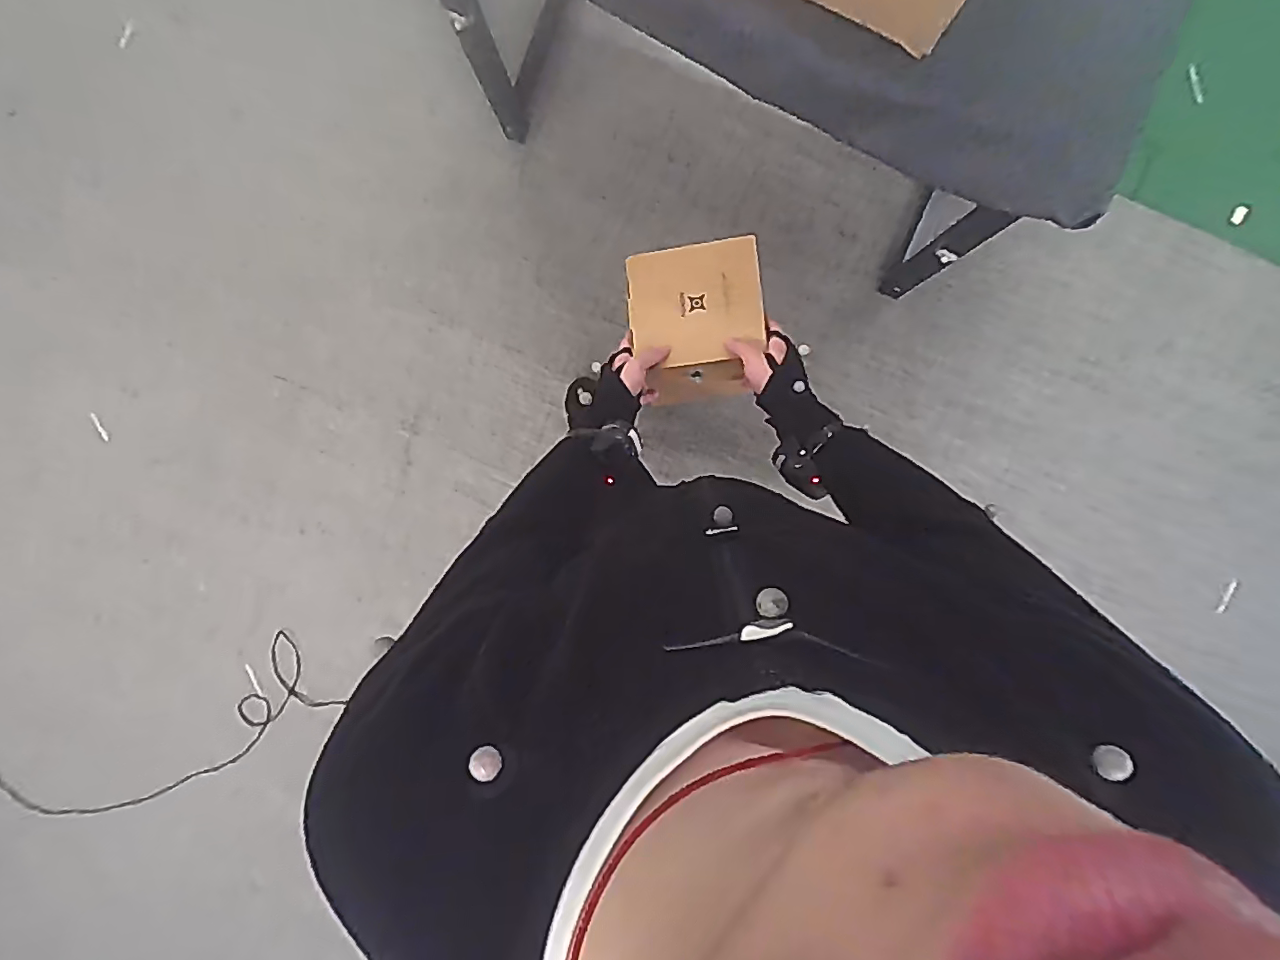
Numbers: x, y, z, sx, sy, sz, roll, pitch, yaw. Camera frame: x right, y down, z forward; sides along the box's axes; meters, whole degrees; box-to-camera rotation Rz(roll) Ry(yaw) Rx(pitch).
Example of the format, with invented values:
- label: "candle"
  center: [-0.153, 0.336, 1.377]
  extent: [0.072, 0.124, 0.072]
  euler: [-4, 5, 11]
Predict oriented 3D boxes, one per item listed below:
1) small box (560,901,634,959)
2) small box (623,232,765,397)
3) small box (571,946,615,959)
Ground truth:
- label: "small box"
  center: [-0.129, 1.373, 1.561]
  extent: [0.179, 0.176, 0.168]
  euler: [24, 94, 0]
- label: "small box"
  center: [0.081, -0.227, 0.788]
  extent: [0.179, 0.176, 0.168]
  euler: [-6, 83, 8]
- label: "small box"
  center: [-0.130, 1.377, 1.396]
  extent: [0.168, 0.176, 0.179]
  euler: [23, 93, -1]
